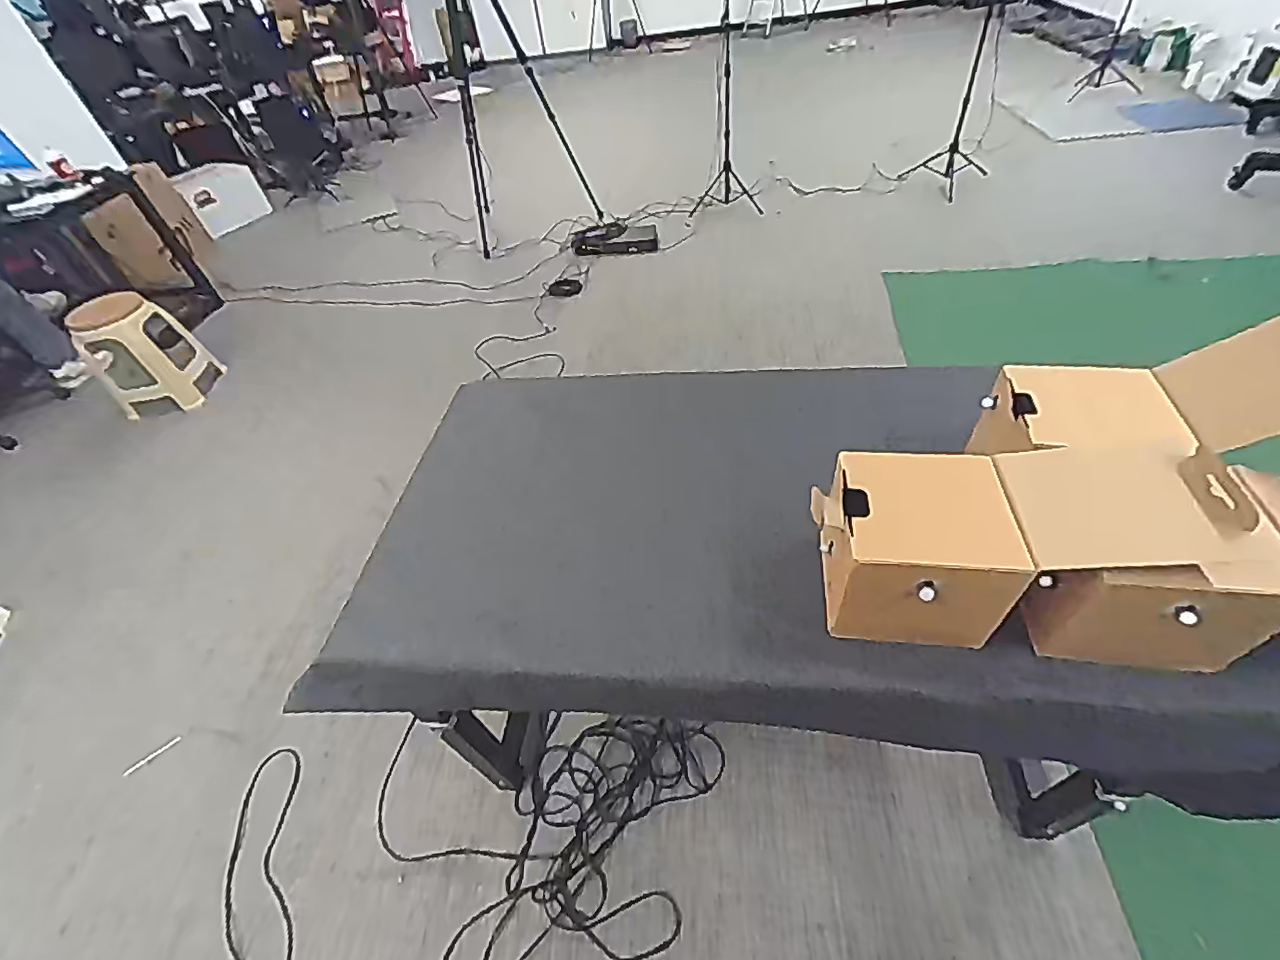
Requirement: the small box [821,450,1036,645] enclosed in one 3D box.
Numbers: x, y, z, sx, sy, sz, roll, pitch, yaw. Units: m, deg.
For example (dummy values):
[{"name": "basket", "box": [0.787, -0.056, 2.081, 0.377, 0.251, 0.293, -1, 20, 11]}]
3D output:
[{"name": "small box", "box": [0.323, 0.083, 0.649, 0.179, 0.176, 0.168, 2, 47, 12]}]
